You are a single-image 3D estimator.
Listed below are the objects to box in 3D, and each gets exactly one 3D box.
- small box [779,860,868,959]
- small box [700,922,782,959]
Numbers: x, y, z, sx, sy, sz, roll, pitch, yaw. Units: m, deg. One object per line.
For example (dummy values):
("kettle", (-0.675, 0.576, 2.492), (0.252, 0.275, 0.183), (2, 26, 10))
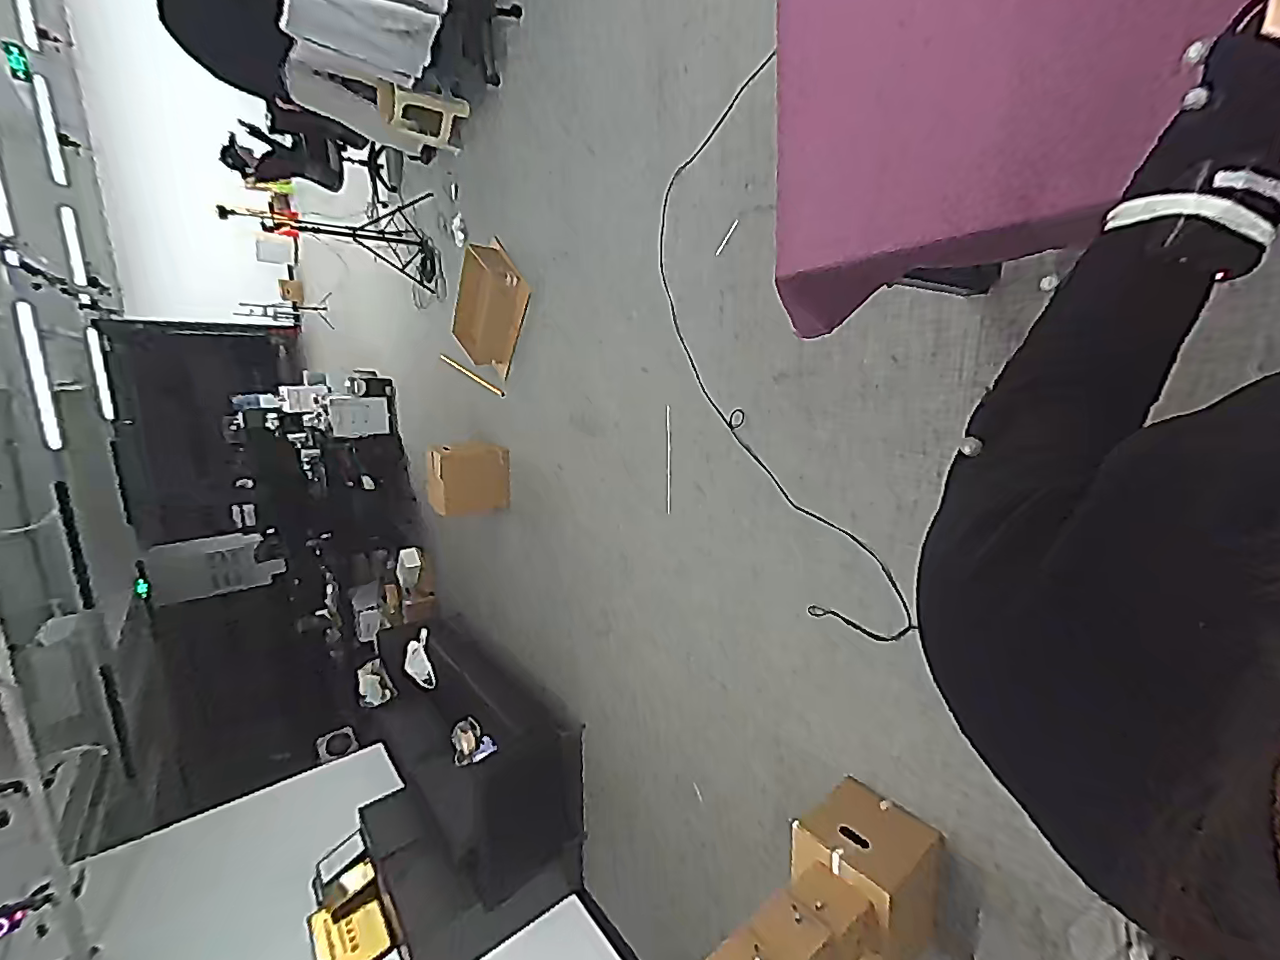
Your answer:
("small box", (0.513, 1.219, 1.517), (0.179, 0.176, 0.168), (10, 105, 49))
("small box", (0.254, 1.251, 1.315), (0.168, 0.176, 0.179), (15, 108, 48))
